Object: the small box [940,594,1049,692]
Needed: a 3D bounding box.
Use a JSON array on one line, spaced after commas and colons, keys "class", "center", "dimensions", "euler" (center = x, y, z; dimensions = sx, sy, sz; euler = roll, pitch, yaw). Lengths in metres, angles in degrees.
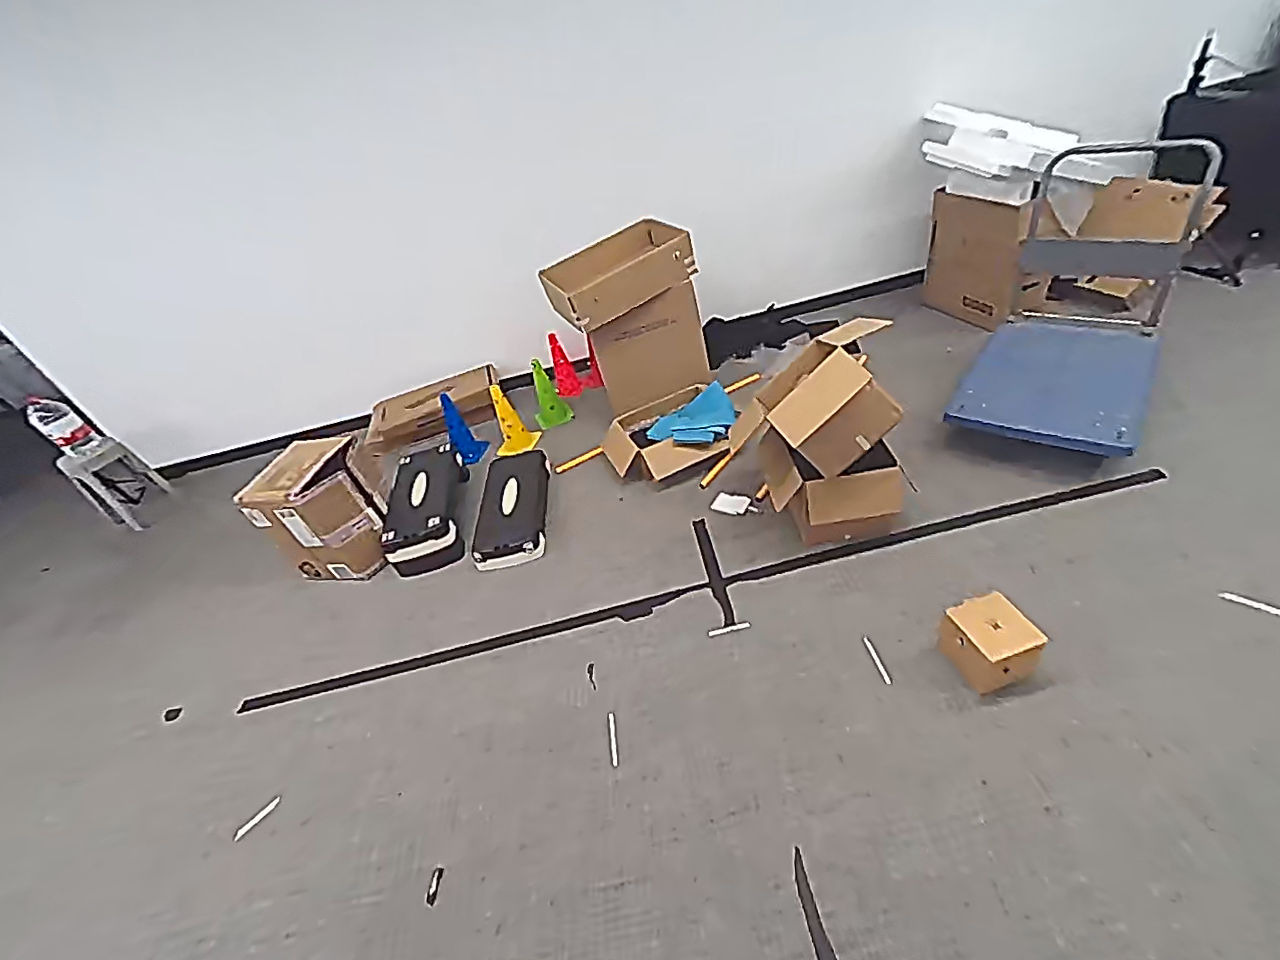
[{"class": "small box", "center": [0.950, 0.449, 1.464], "dimensions": [0.168, 0.176, 0.179], "euler": [-18, 38, -4]}]
